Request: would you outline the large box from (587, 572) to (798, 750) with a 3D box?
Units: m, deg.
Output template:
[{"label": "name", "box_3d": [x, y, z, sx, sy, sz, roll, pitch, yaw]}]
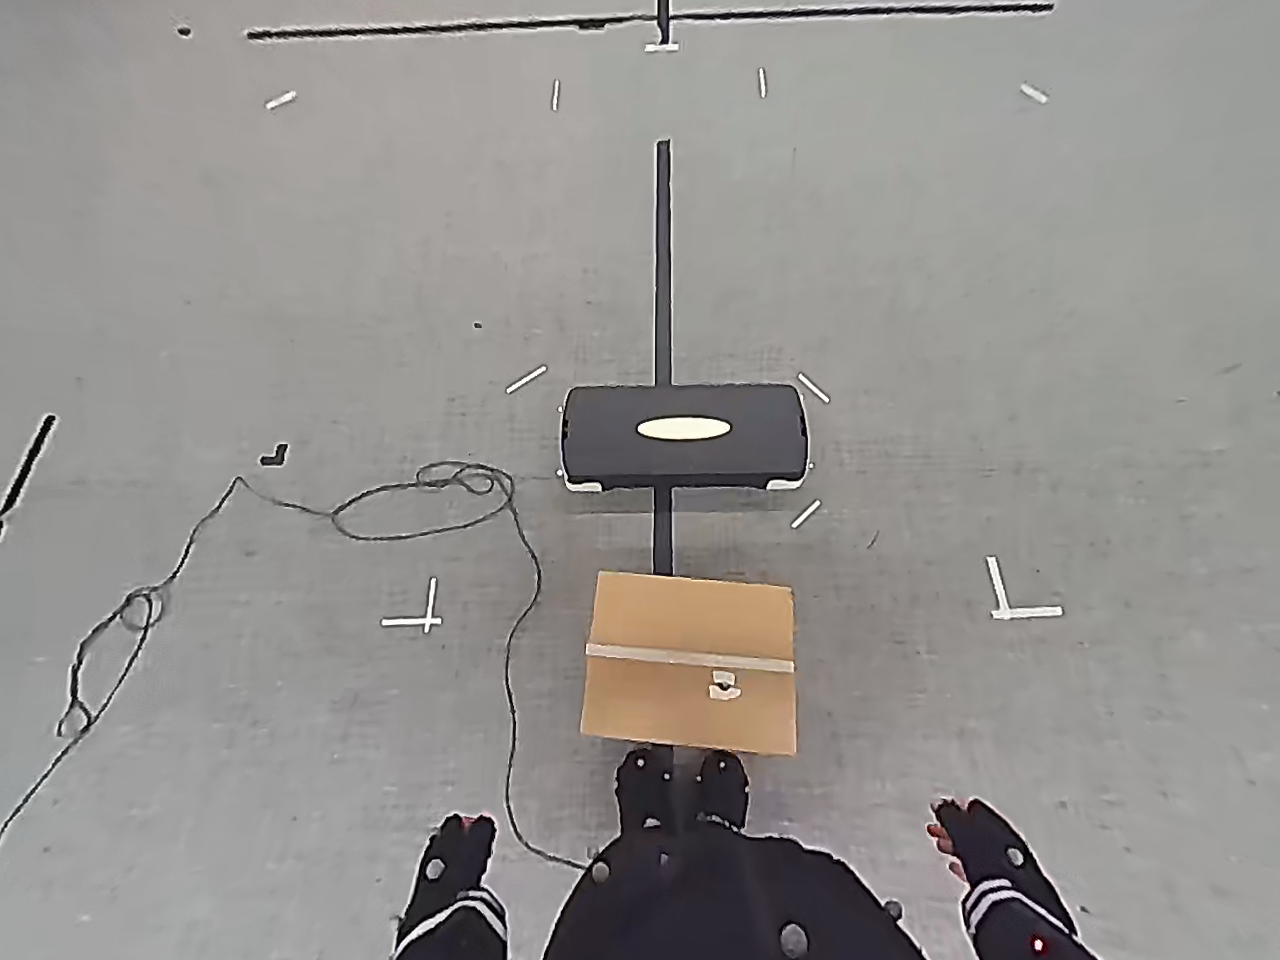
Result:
[{"label": "large box", "box_3d": [0.106, 0.402, 1.199, 0.408, 0.320, 0.320, 4, 69, 2]}]
